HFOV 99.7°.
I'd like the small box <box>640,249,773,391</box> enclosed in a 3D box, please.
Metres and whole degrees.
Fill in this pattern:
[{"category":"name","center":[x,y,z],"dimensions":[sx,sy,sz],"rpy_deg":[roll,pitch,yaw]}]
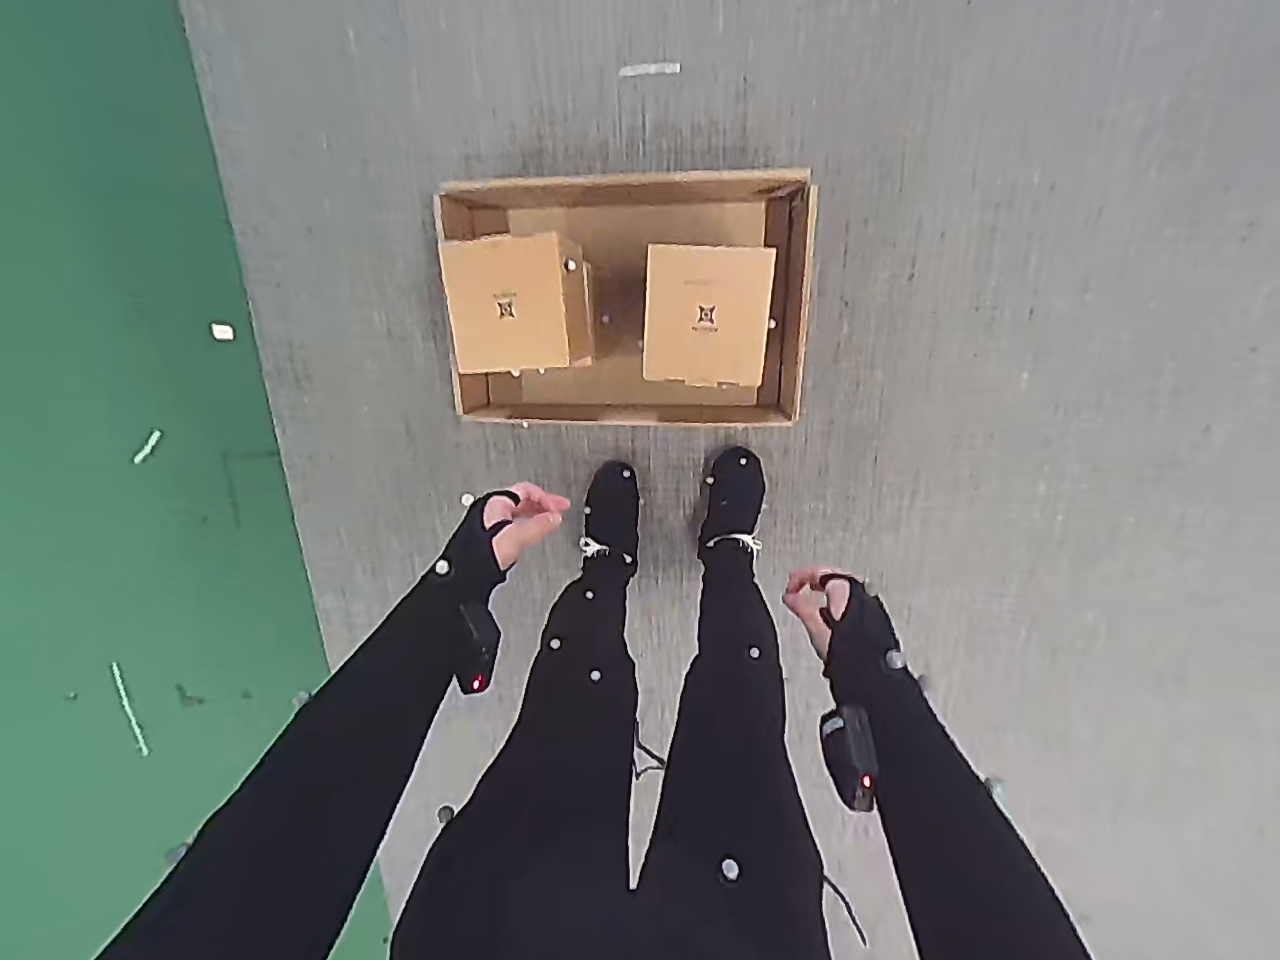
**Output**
[{"category":"small box","center":[0.094,-0.234,0.794],"dimensions":[0.168,0.176,0.179],"rpy_deg":[4,107,5]}]

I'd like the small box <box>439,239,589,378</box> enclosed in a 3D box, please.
[{"category":"small box","center":[-0.178,-0.256,0.820],"dimensions":[0.168,0.176,0.179],"rpy_deg":[-3,106,7]}]
